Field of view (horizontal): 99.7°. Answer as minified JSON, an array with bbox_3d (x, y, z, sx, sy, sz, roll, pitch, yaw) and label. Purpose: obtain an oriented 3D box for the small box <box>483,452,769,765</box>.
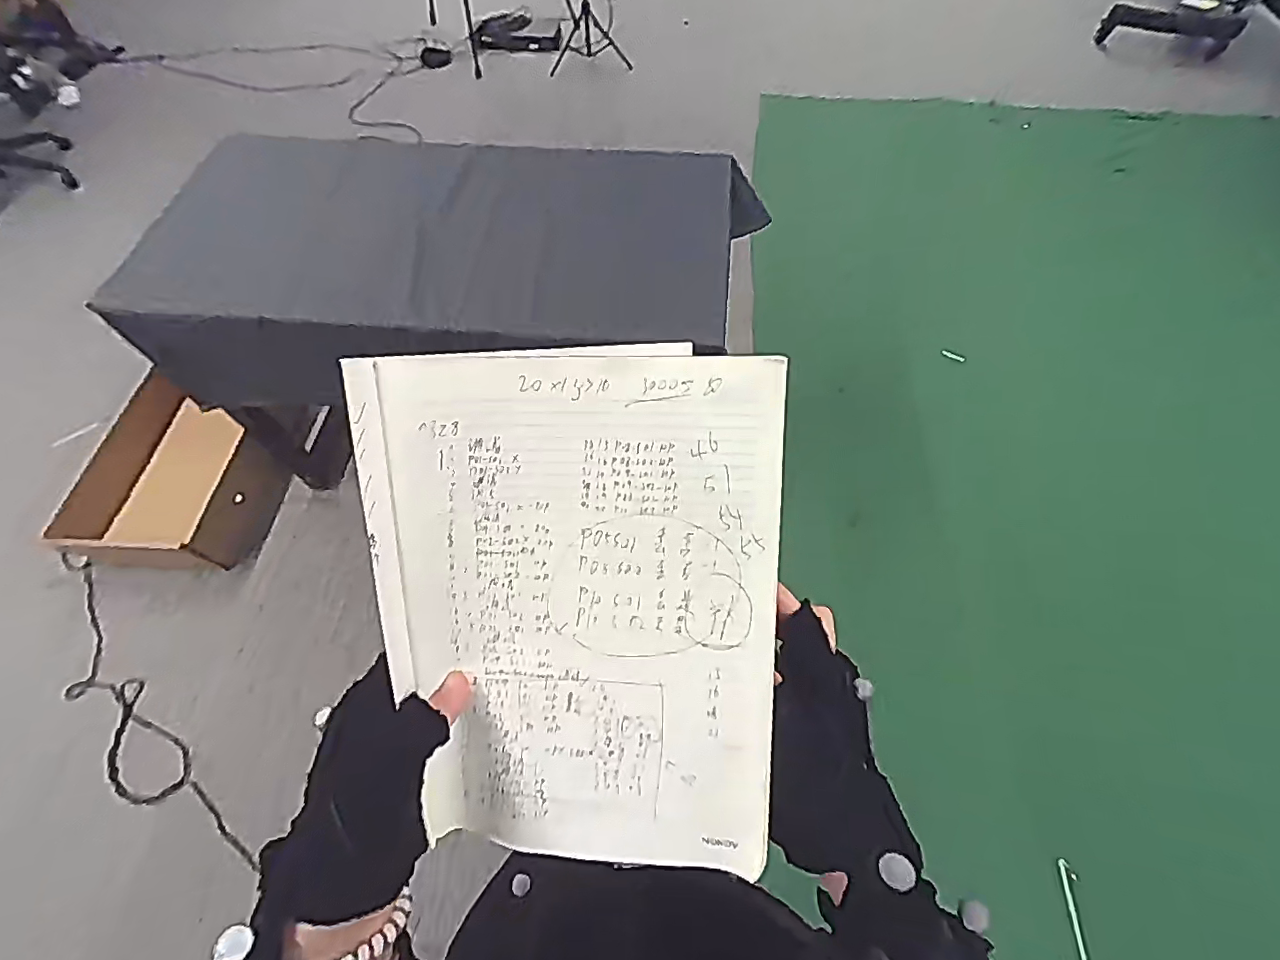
[{"bbox_3d":[-0.007,0.089,0.400,0.168,0.176,0.179,-5,79,5],"label":"small box"}]
